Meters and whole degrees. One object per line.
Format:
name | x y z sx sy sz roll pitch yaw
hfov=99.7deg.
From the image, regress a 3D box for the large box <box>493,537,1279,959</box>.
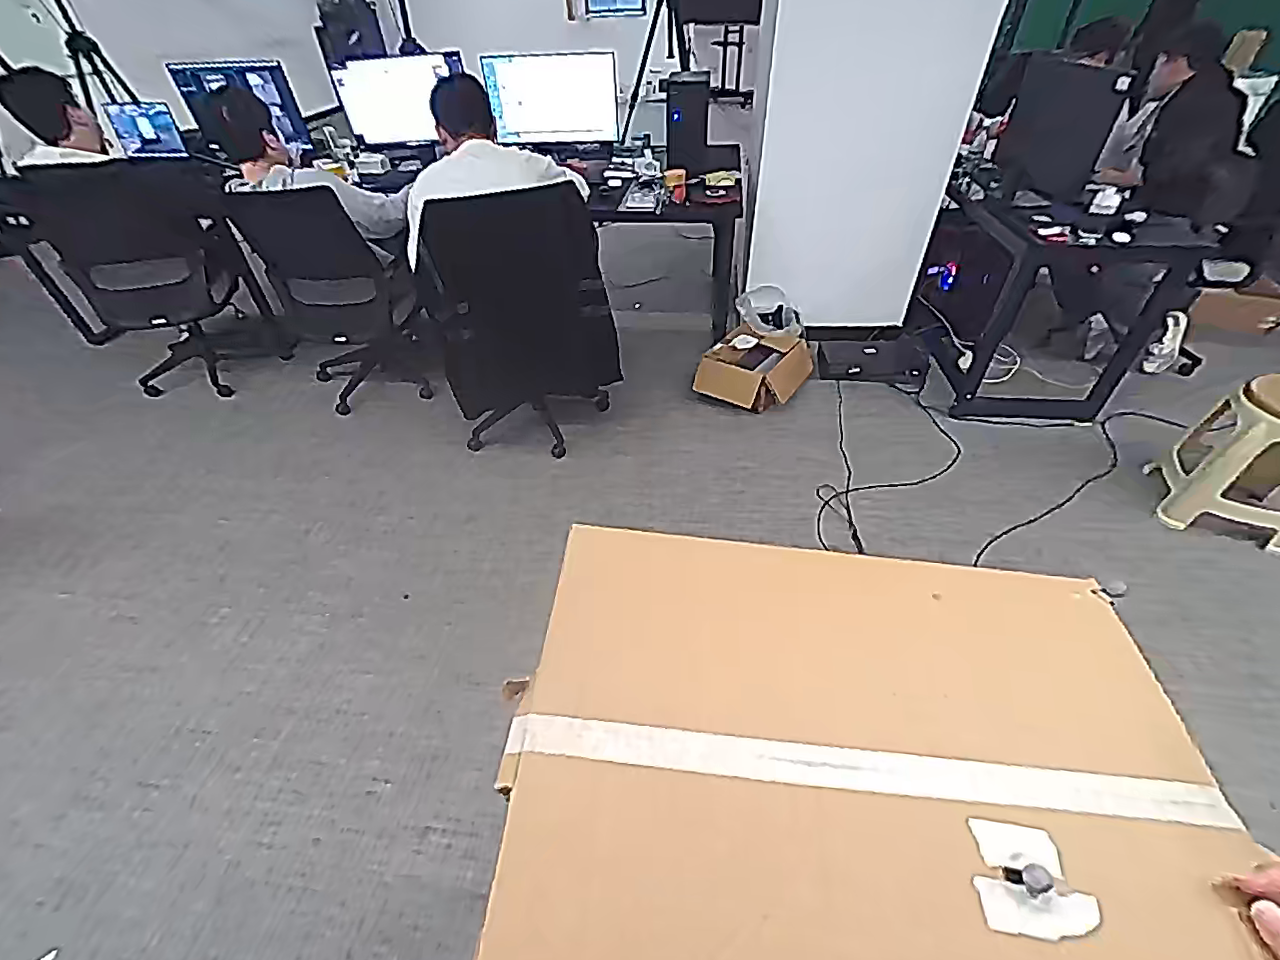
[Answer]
large box | 0.122 0.275 0.427 0.408 0.320 0.320 7 47 0
